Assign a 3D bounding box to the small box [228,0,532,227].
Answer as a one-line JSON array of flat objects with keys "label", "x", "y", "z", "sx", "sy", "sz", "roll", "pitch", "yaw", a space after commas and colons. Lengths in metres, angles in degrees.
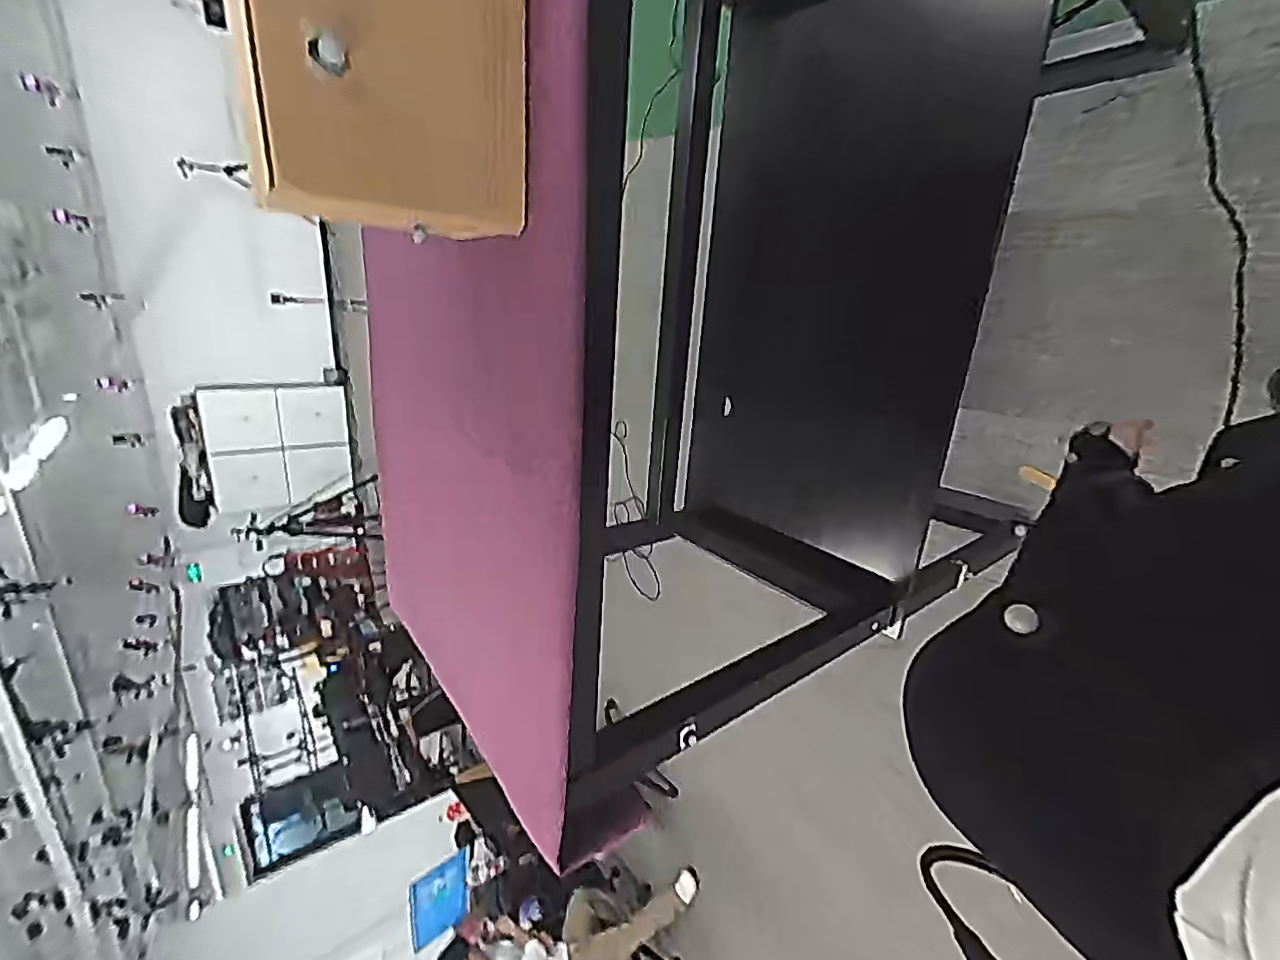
[{"label": "small box", "x": -0.188, "y": -0.296, "z": 0.399, "sx": 0.168, "sy": 0.176, "sz": 0.179, "roll": 27, "pitch": 120, "yaw": 48}]
